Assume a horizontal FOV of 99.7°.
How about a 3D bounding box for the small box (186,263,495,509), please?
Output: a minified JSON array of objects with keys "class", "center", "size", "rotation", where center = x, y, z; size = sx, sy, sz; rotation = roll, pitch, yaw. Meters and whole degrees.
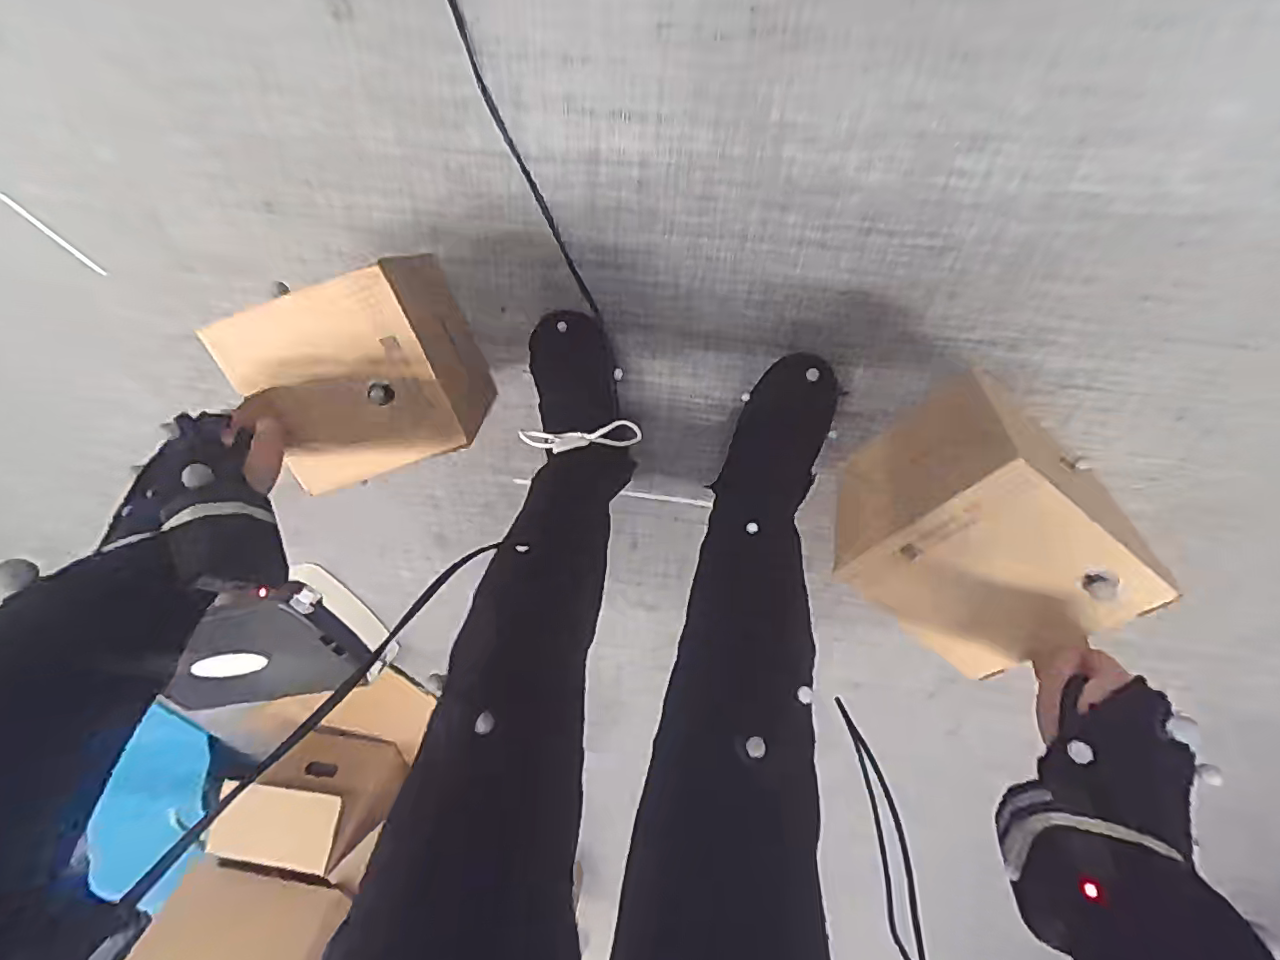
[{"class":"small box","center":[-0.259,-0.100,0.526],"size":[0.176,0.179,0.168],"rotation":[-18,115,6]}]
